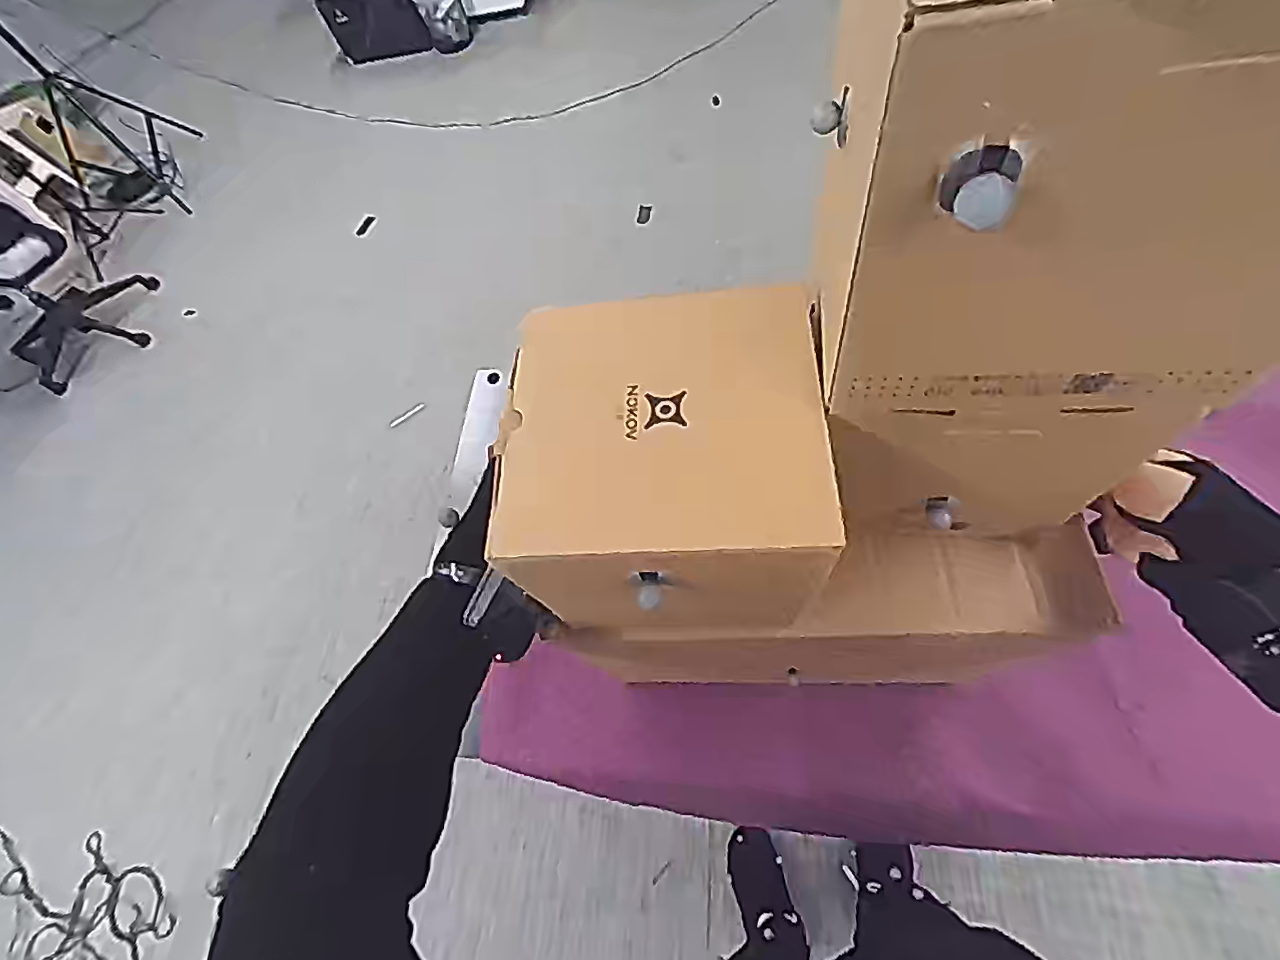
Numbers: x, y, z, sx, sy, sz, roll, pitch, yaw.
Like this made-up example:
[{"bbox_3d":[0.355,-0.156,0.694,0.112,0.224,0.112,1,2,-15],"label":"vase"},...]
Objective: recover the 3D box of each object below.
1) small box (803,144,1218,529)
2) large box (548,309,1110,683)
[{"bbox_3d":[0.200,-0.083,0.361,0.168,0.176,0.179,1,64,13],"label":"small box"},{"bbox_3d":[0.151,0.040,0.589,0.408,0.320,0.320,-5,62,10],"label":"large box"}]
